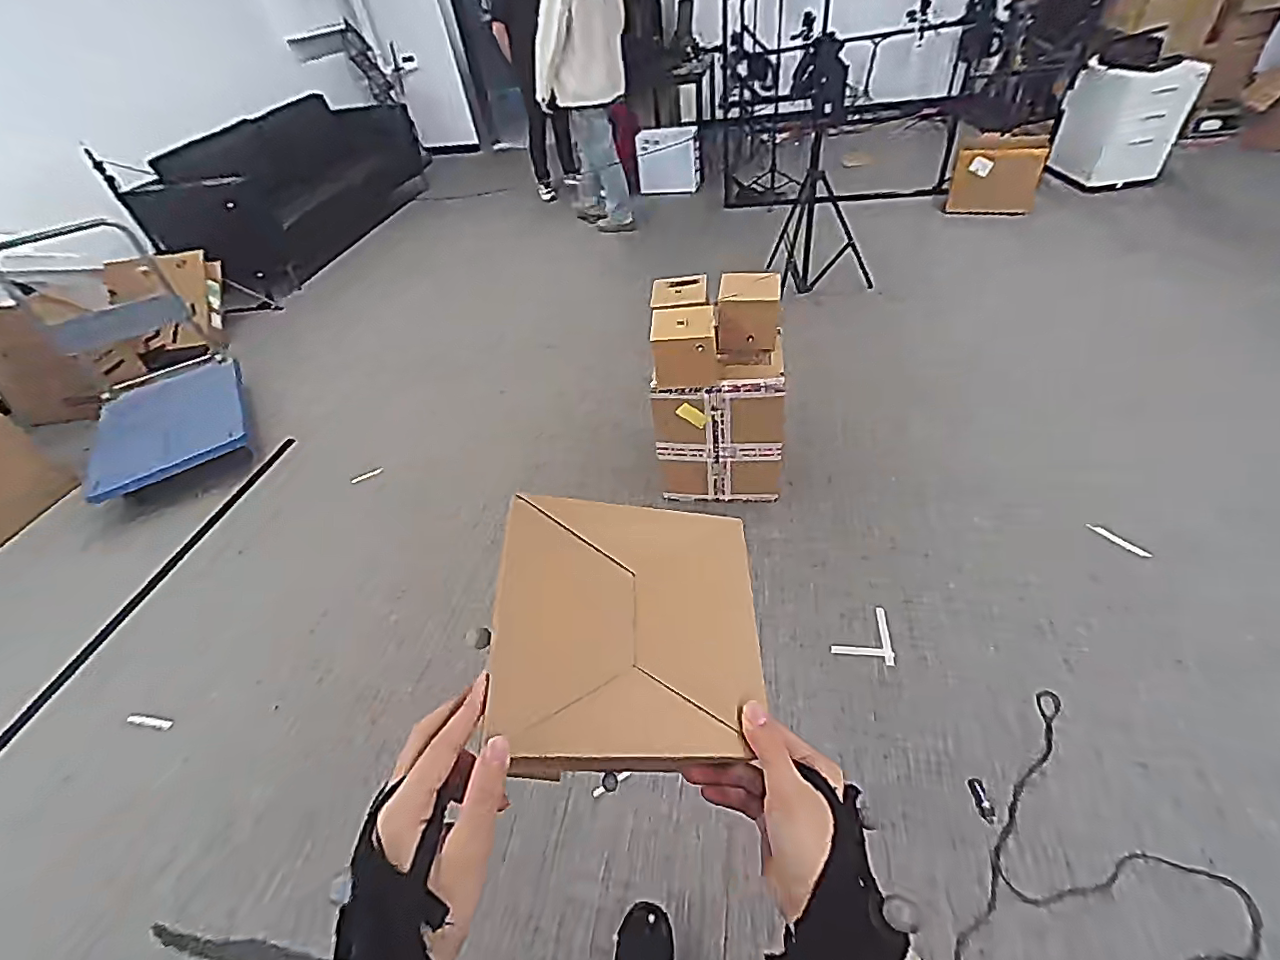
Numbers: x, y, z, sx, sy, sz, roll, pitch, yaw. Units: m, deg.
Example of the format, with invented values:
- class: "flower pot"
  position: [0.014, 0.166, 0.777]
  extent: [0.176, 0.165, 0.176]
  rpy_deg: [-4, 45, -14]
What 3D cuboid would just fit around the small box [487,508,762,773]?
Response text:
- class: "small box"
  position: [-0.022, 0.137, 0.431]
  extent: [0.179, 0.176, 0.168]
  rpy_deg: [8, 57, -14]
